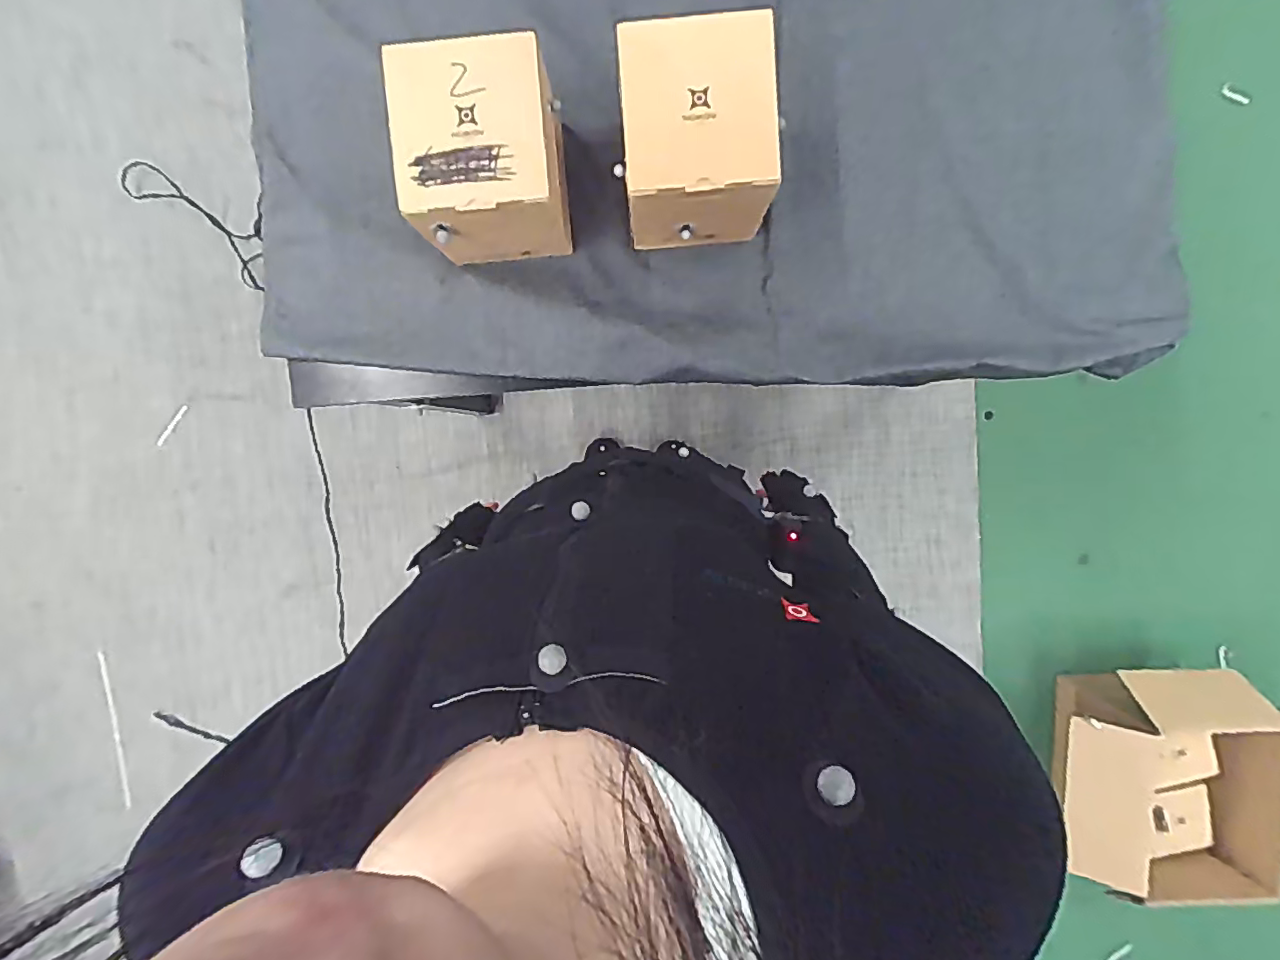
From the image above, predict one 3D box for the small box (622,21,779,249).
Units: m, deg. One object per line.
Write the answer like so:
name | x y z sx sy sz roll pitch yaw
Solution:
small box | 0.066 -0.407 0.665 0.168 0.176 0.179 -4 95 1
